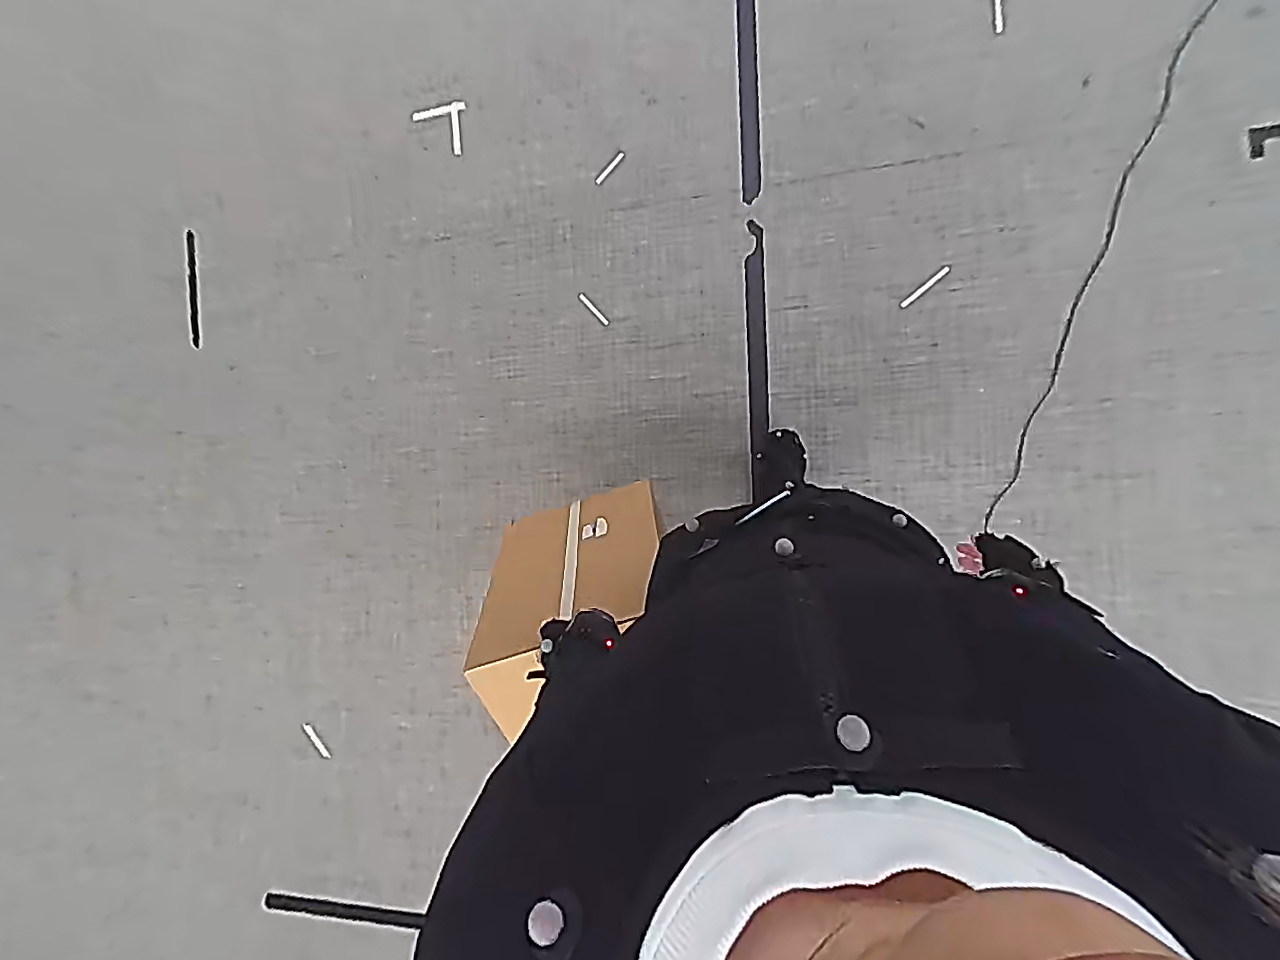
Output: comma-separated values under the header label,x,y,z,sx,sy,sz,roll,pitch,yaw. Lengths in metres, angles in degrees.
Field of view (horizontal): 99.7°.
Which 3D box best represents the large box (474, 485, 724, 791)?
label,x,y,z,sx,sy,sz,roll,pitch,yaw
large box,-0.065,0.268,1.004,0.320,0.408,0.320,-17,115,4
